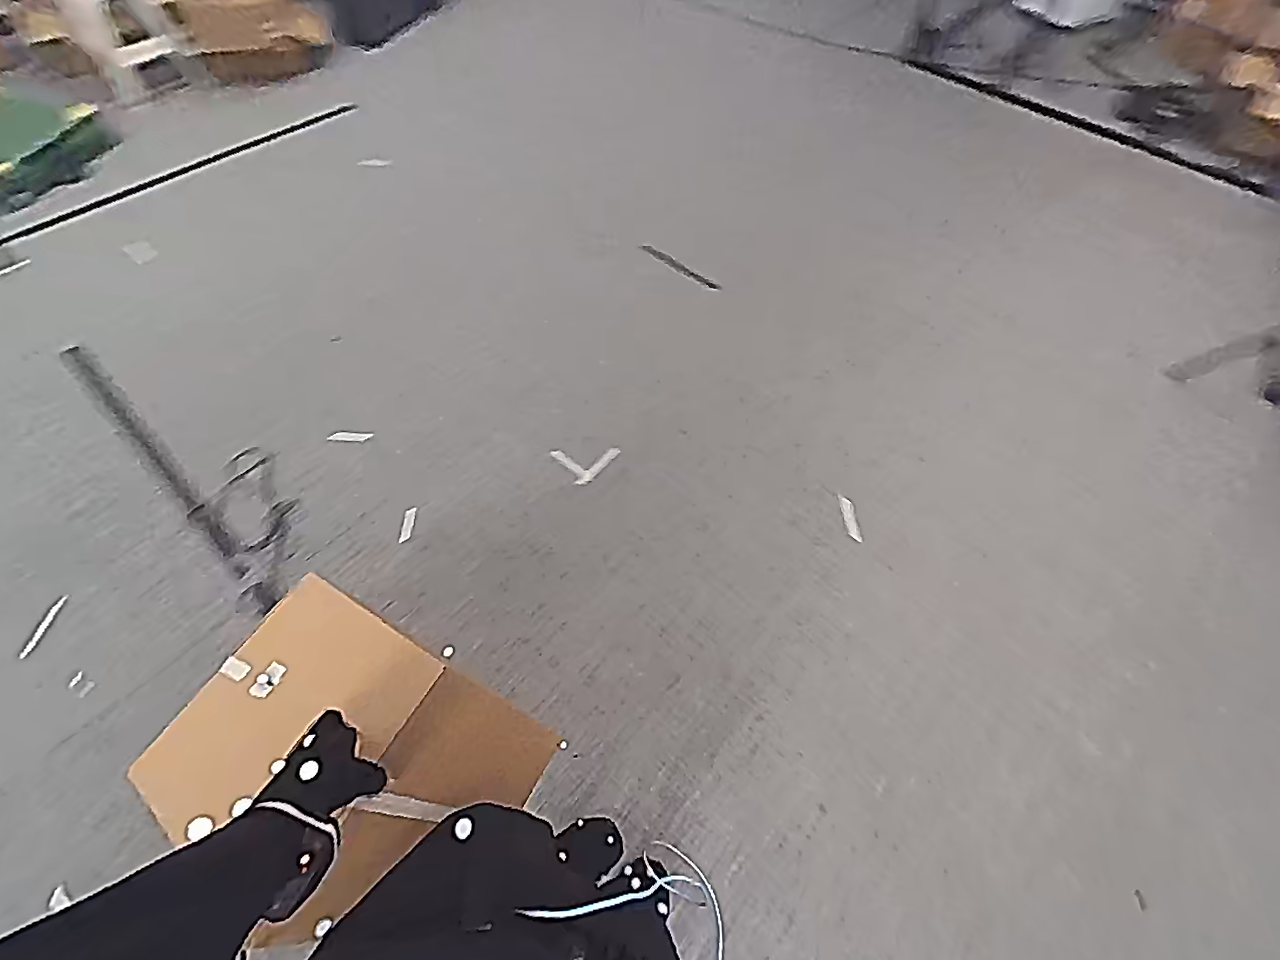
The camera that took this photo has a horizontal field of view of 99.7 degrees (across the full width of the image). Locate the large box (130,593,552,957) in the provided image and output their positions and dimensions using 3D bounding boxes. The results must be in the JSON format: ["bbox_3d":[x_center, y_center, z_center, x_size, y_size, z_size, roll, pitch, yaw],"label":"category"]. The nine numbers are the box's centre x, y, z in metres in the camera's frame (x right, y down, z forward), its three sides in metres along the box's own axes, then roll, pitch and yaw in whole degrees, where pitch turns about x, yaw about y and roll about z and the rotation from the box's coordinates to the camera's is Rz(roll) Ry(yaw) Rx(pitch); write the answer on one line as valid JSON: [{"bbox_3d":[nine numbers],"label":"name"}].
[{"bbox_3d":[-0.405,0.428,0.827,0.320,0.408,0.320,20,63,28],"label":"large box"}]
